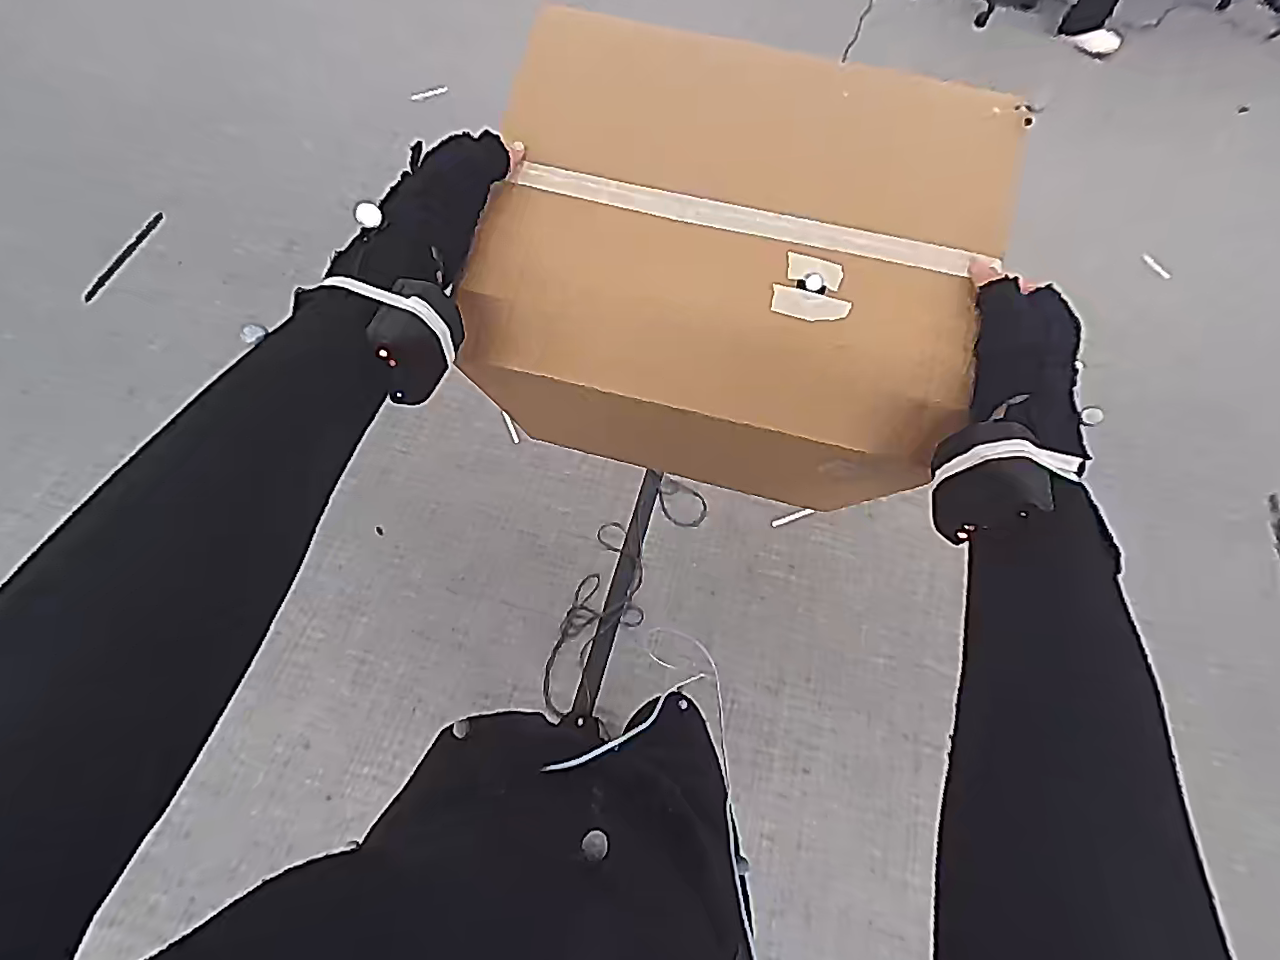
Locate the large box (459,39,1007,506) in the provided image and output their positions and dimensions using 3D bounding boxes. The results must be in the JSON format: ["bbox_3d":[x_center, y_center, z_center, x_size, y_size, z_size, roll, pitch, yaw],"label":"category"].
[{"bbox_3d":[0.082,-0.176,0.588,0.408,0.320,0.320,14,83,3],"label":"large box"}]
